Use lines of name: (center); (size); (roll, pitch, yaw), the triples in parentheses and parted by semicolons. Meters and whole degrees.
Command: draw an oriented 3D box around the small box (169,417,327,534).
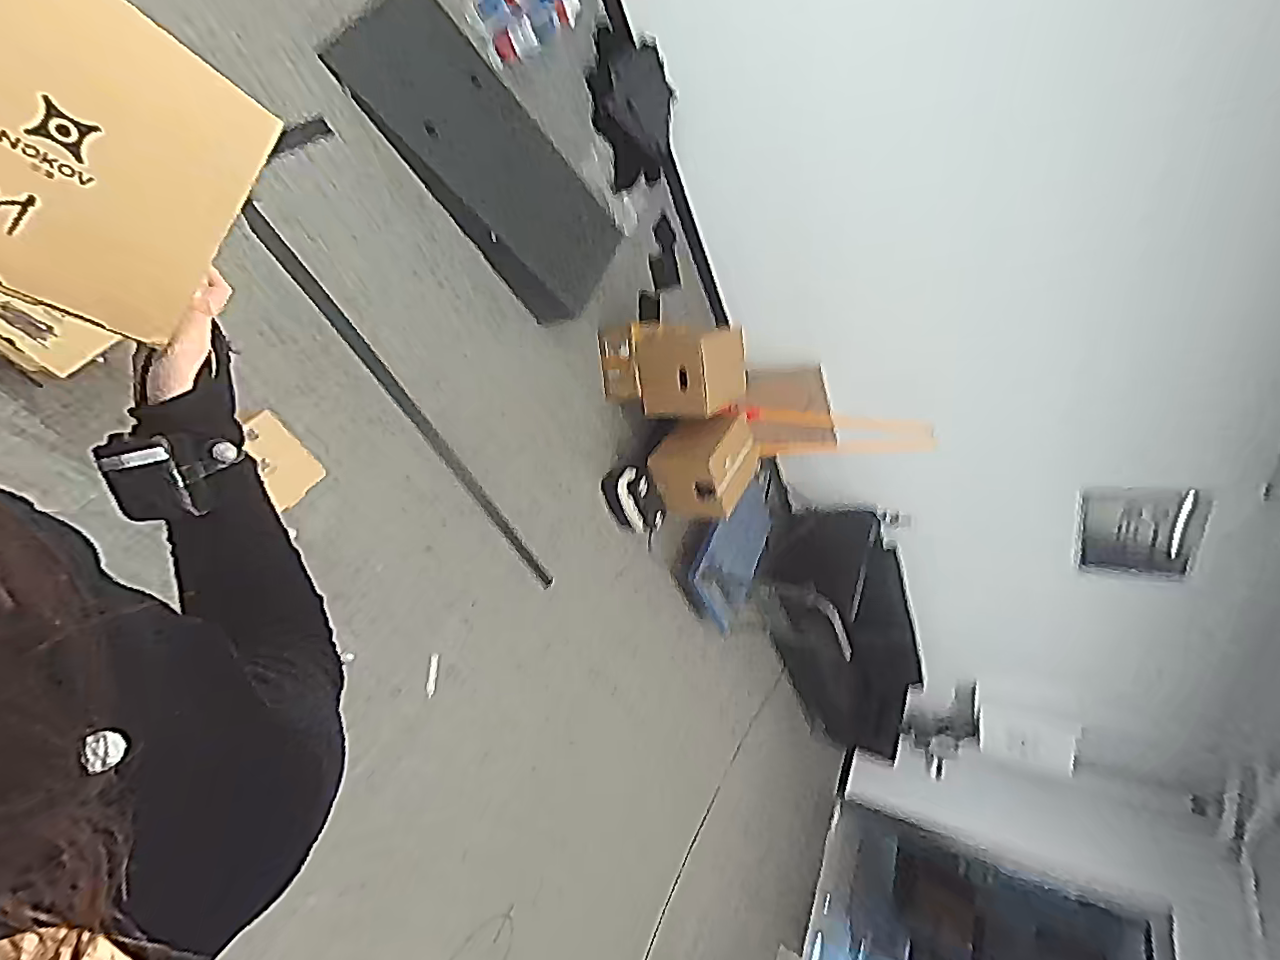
small box: (-0.802, -0.013, 1.111); (0.168, 0.176, 0.179); (-57, 135, -37)

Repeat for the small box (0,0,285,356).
small box: (-0.370, -0.209, 0.335); (0.168, 0.176, 0.179); (27, 91, -55)

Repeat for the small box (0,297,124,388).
small box: (-1.079, -0.286, 0.989); (0.168, 0.176, 0.179); (57, 47, -39)

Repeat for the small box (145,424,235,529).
small box: (-0.935, -0.015, 1.205); (0.168, 0.176, 0.179); (-55, 132, -38)
